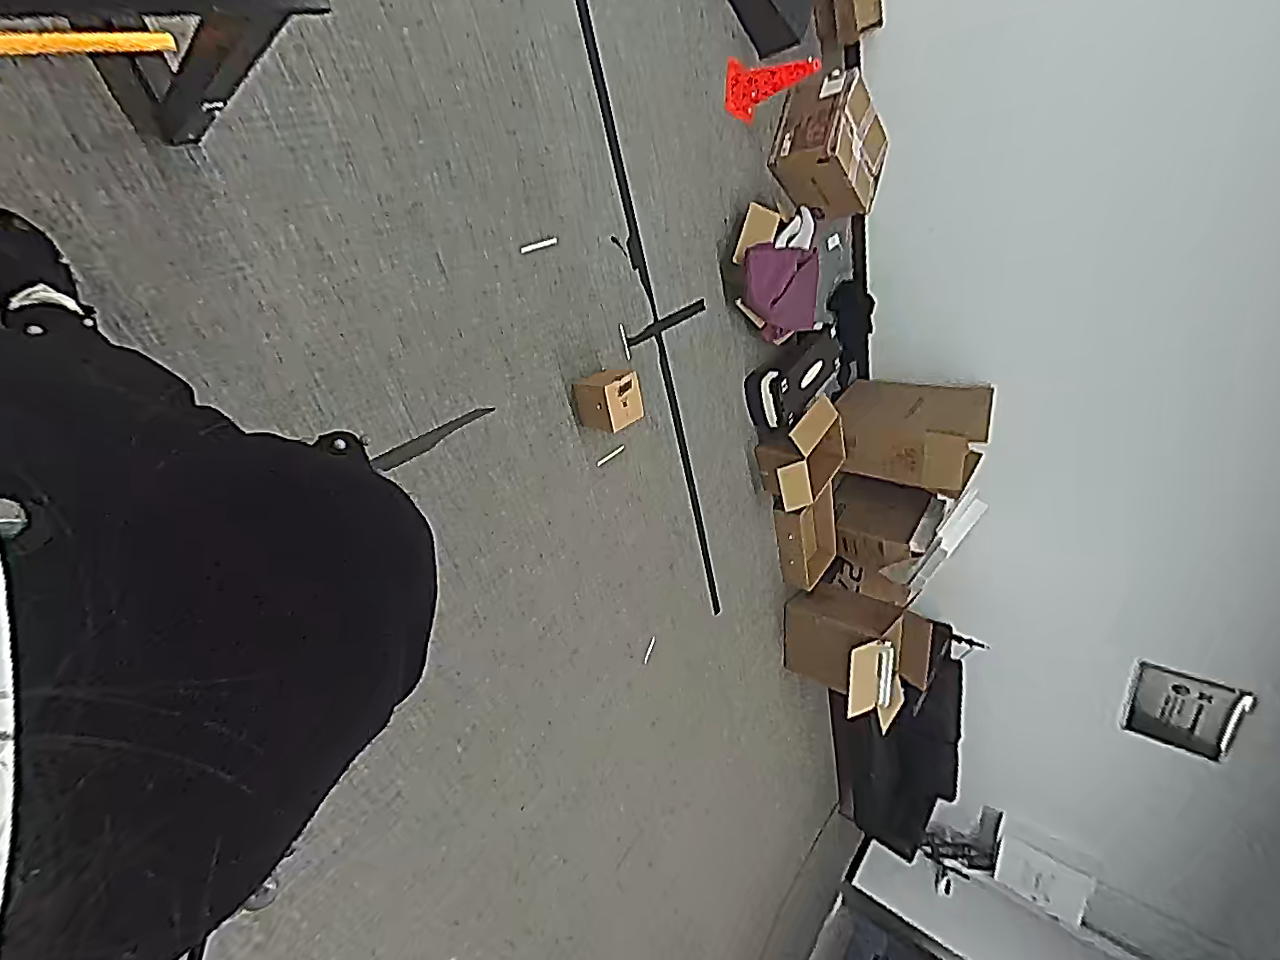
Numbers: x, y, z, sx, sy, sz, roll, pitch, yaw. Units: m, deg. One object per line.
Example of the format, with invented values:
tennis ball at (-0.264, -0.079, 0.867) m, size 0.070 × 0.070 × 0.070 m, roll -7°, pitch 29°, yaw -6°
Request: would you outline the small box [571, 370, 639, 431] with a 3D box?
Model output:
small box at (-0.130, -0.296, 1.965) m, size 0.168 × 0.176 × 0.179 m, roll -35°, pitch 125°, yaw -37°
